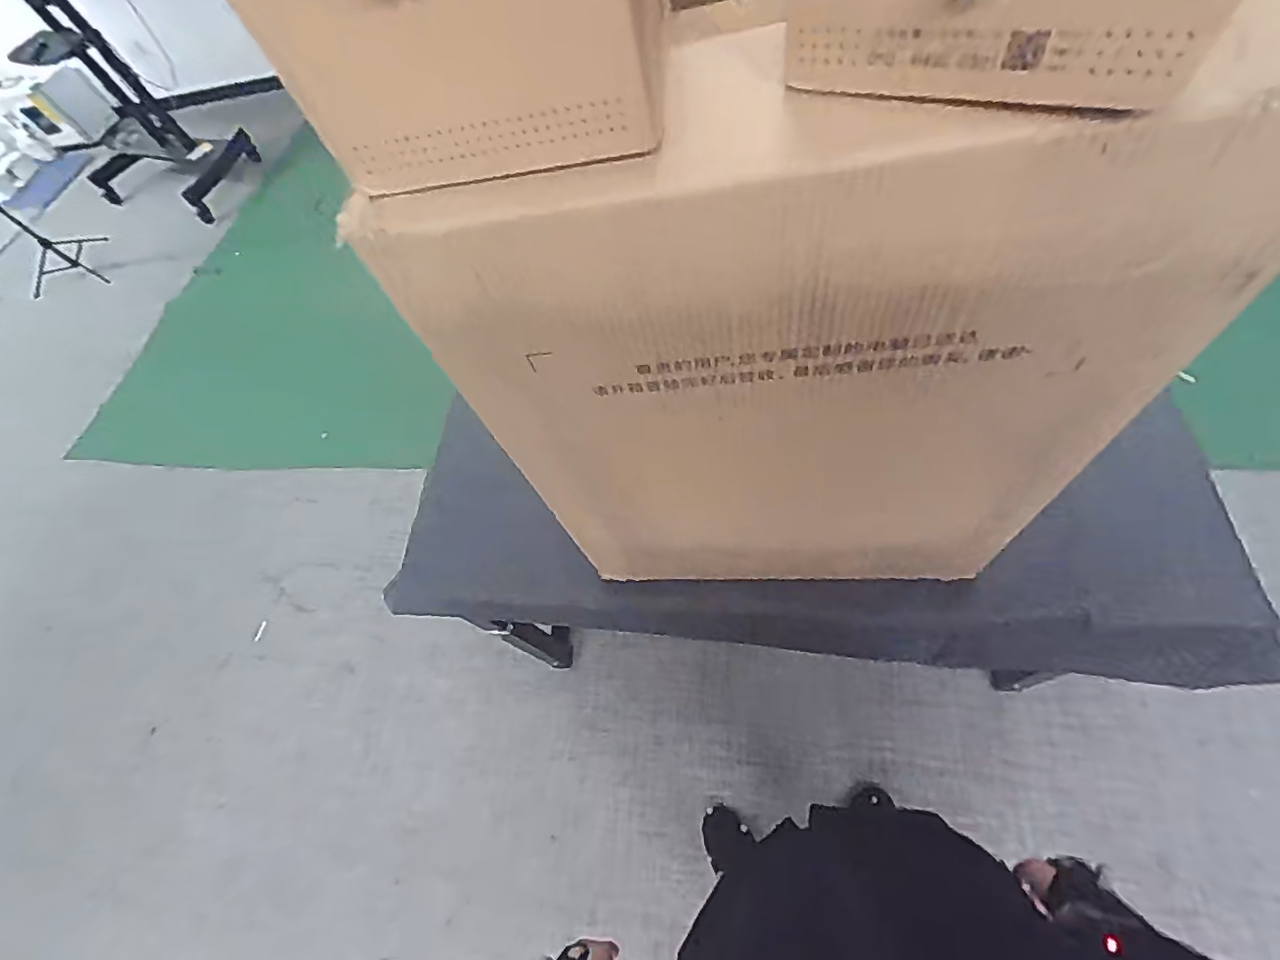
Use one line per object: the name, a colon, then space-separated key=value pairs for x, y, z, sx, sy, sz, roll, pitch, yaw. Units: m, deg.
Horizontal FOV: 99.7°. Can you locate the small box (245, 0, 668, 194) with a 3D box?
small box: x=-0.090 y=-0.274 z=0.272 sx=0.179 sy=0.176 sz=0.168 roll=-3 pitch=62 yaw=13
